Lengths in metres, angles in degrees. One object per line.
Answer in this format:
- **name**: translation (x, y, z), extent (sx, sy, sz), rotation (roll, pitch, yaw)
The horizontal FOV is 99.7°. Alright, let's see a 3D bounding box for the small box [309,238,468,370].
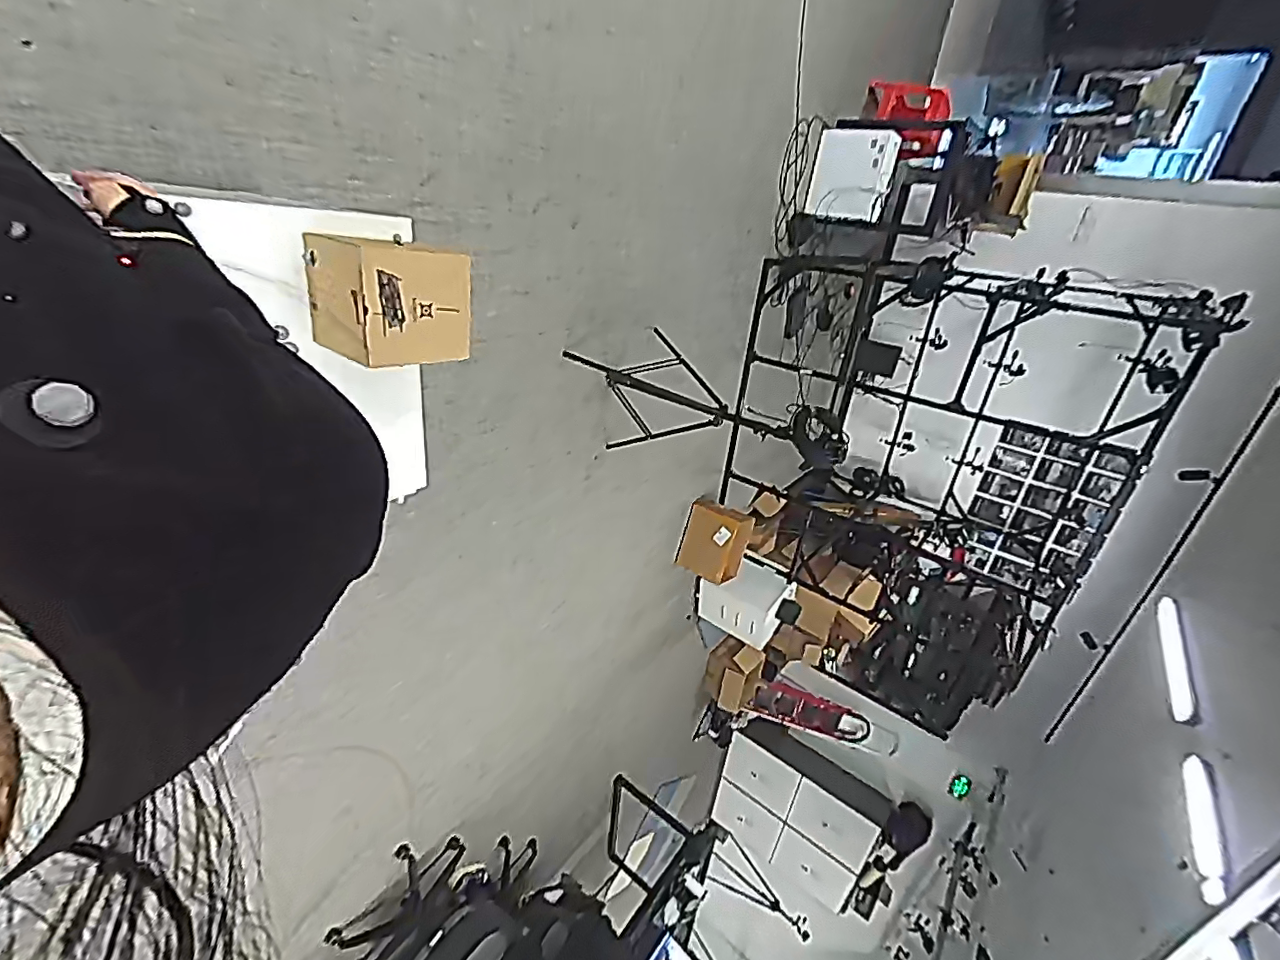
- **small box**: translation (-0.394, -0.278, 0.848), extent (0.179, 0.176, 0.168), rotation (-23, 129, -49)
